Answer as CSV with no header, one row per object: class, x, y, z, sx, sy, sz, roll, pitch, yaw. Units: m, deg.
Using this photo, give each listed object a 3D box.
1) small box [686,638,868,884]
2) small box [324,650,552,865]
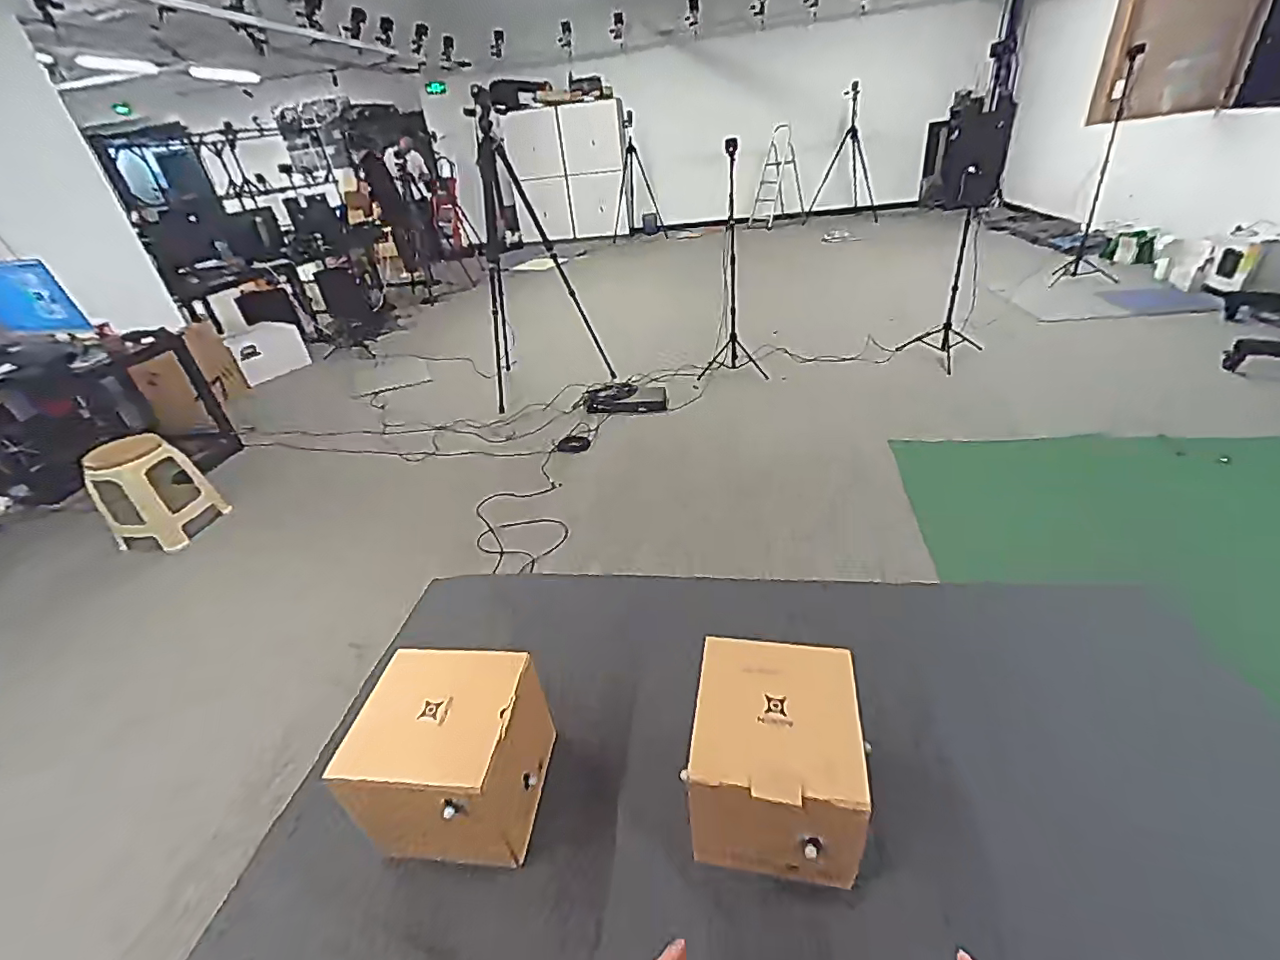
small box,0.146,0.306,0.599,0.168,0.176,0.179,2,33,12
small box,-0.219,0.323,0.639,0.179,0.176,0.168,-1,33,8
